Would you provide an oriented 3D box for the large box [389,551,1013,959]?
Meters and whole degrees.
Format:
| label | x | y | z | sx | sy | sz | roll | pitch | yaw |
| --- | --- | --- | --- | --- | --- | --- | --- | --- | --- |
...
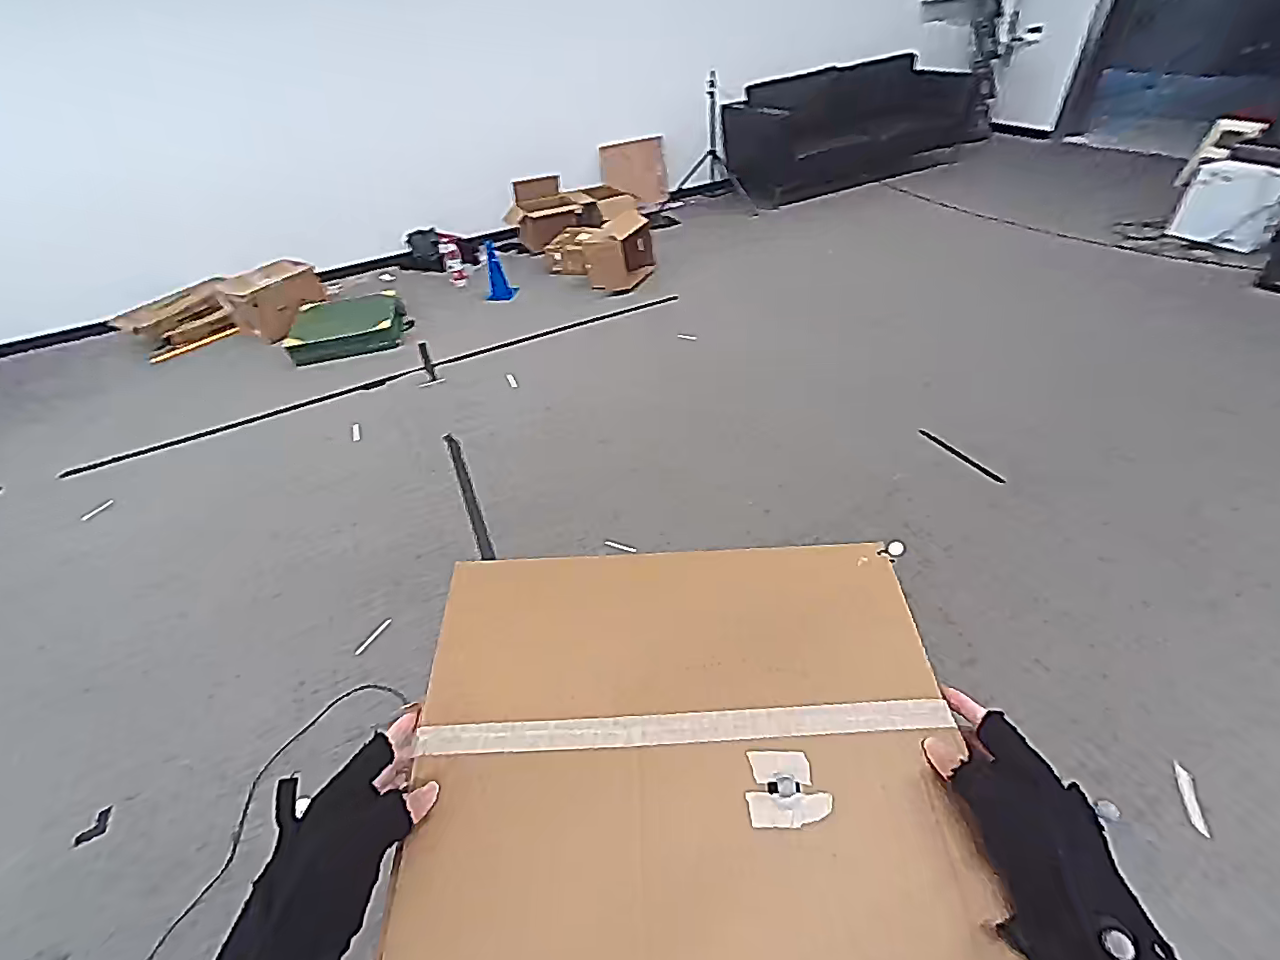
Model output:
| label | x | y | z | sx | sy | sz | roll | pitch | yaw |
| --- | --- | --- | --- | --- | --- | --- | --- | --- | --- |
| large box | 0.032 | 0.293 | 0.541 | 0.408 | 0.320 | 0.320 | -3 | 51 | 0 |
